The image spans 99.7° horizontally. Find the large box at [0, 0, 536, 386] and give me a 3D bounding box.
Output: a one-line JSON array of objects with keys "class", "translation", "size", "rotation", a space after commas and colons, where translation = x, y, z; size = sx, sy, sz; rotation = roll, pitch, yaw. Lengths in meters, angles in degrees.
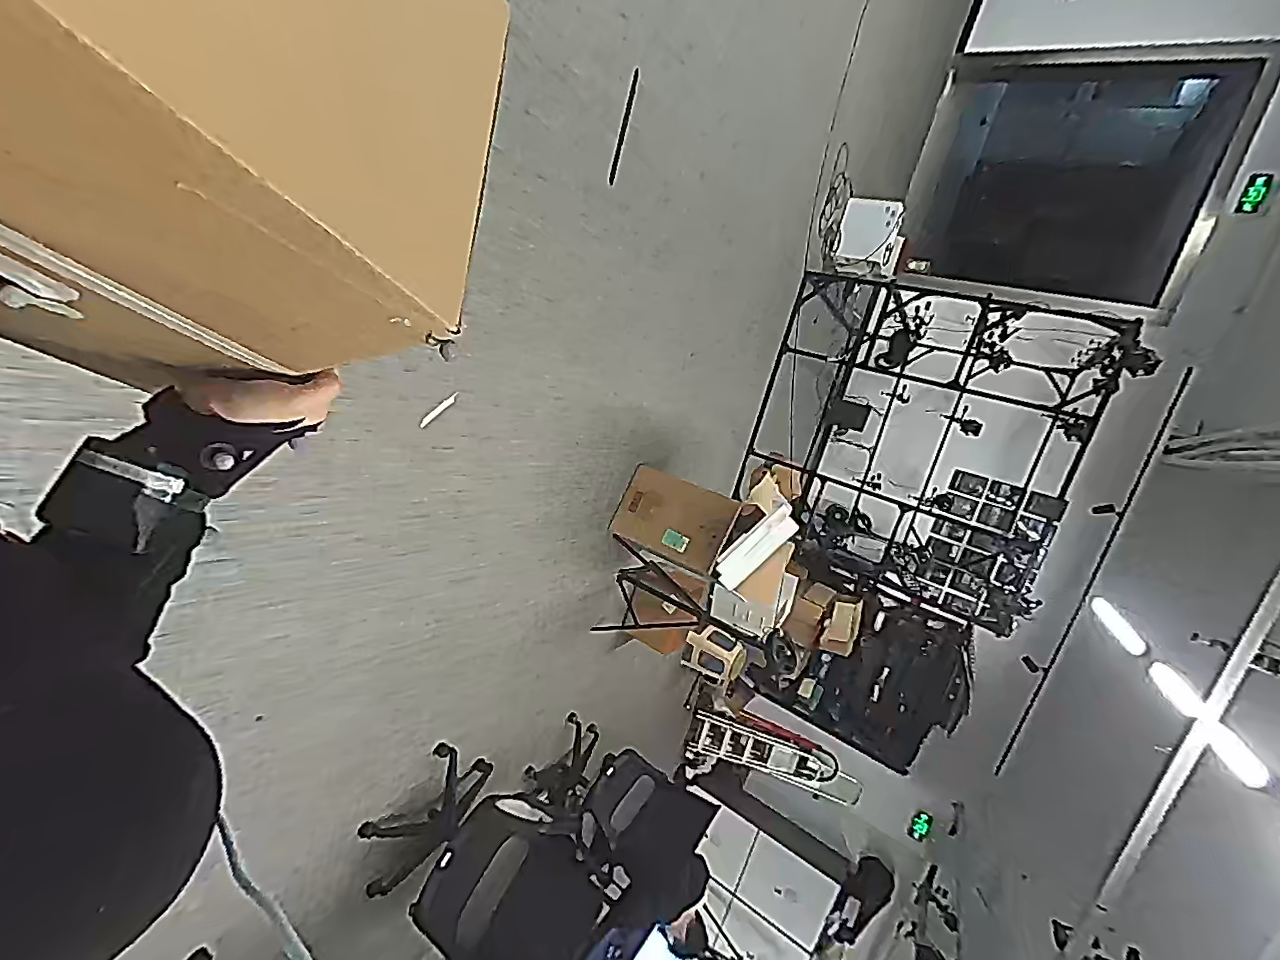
[{"class": "large box", "translation": [-0.301, -0.294, 0.277], "size": [0.408, 0.320, 0.320], "rotation": [37, 52, -60]}]
